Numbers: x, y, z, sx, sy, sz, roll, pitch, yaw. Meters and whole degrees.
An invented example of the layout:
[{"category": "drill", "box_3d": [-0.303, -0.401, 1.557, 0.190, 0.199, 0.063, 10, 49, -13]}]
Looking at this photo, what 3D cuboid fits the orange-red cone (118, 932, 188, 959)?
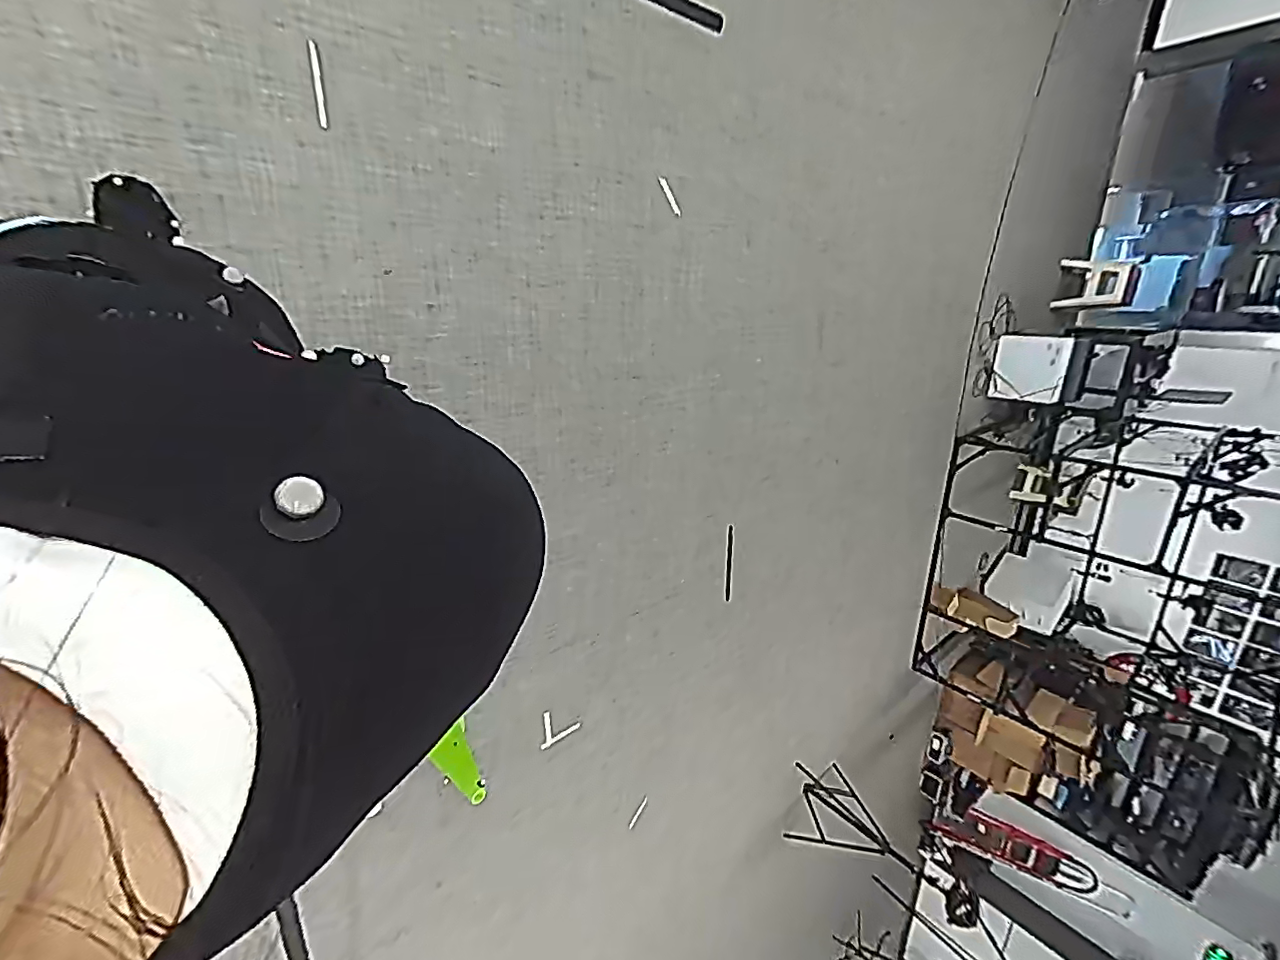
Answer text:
[{"category": "orange-red cone", "box_3d": [-1.113, 1.260, 1.183, 0.199, 0.360, 0.198, -8, 108, -39]}]
